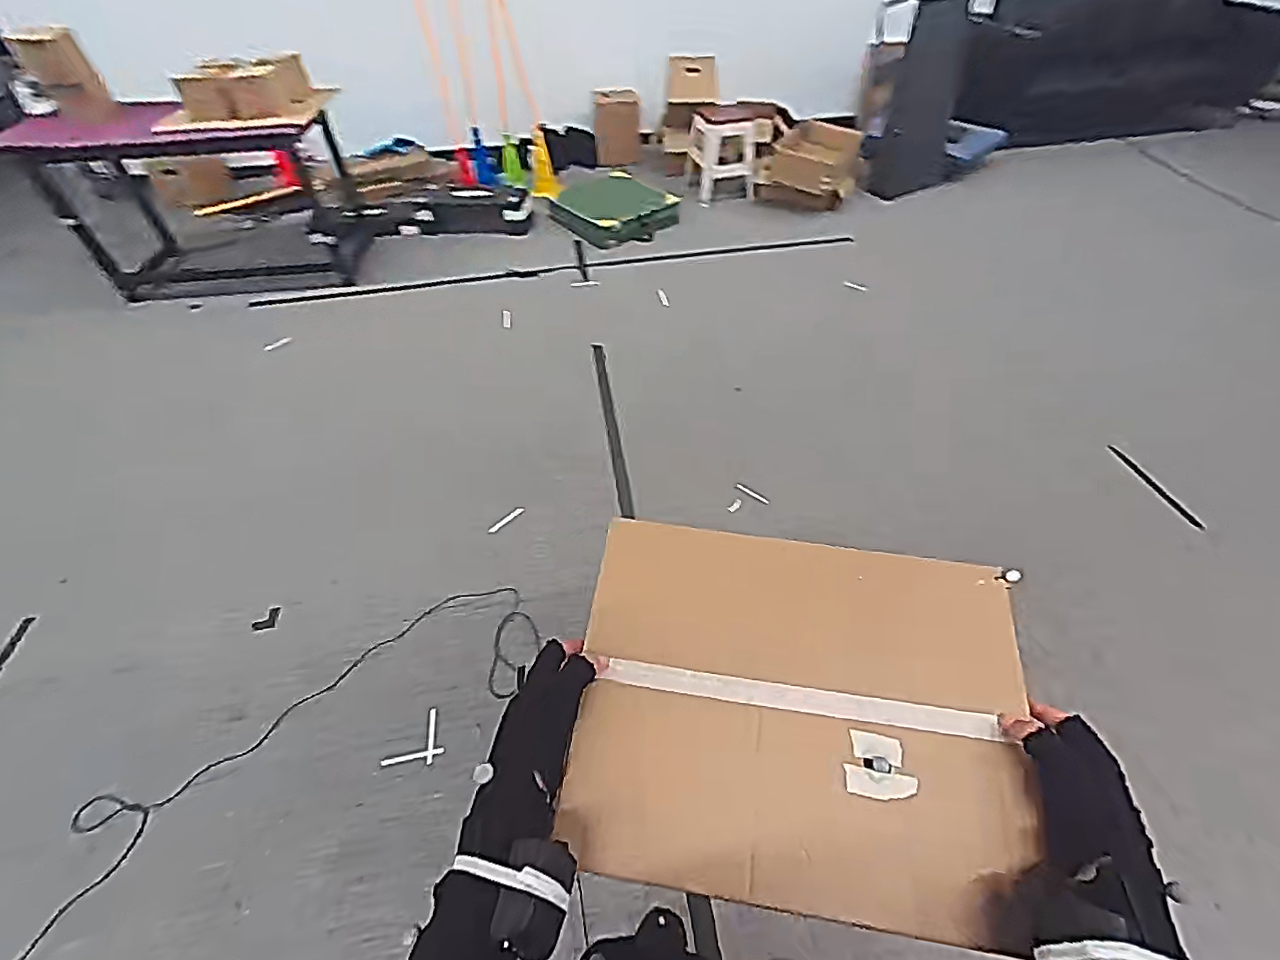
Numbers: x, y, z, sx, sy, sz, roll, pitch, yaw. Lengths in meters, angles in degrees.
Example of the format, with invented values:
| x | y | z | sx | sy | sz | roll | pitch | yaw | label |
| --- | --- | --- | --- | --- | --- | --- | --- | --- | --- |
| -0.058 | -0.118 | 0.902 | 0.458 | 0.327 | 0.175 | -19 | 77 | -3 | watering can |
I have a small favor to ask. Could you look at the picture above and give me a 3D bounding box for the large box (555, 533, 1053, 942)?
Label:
| x | y | z | sx | sy | sz | roll | pitch | yaw | label |
| --- | --- | --- | --- | --- | --- | --- | --- | --- | --- |
| 0.143 | 0.281 | 0.633 | 0.408 | 0.320 | 0.320 | 6 | 61 | 5 | large box |
